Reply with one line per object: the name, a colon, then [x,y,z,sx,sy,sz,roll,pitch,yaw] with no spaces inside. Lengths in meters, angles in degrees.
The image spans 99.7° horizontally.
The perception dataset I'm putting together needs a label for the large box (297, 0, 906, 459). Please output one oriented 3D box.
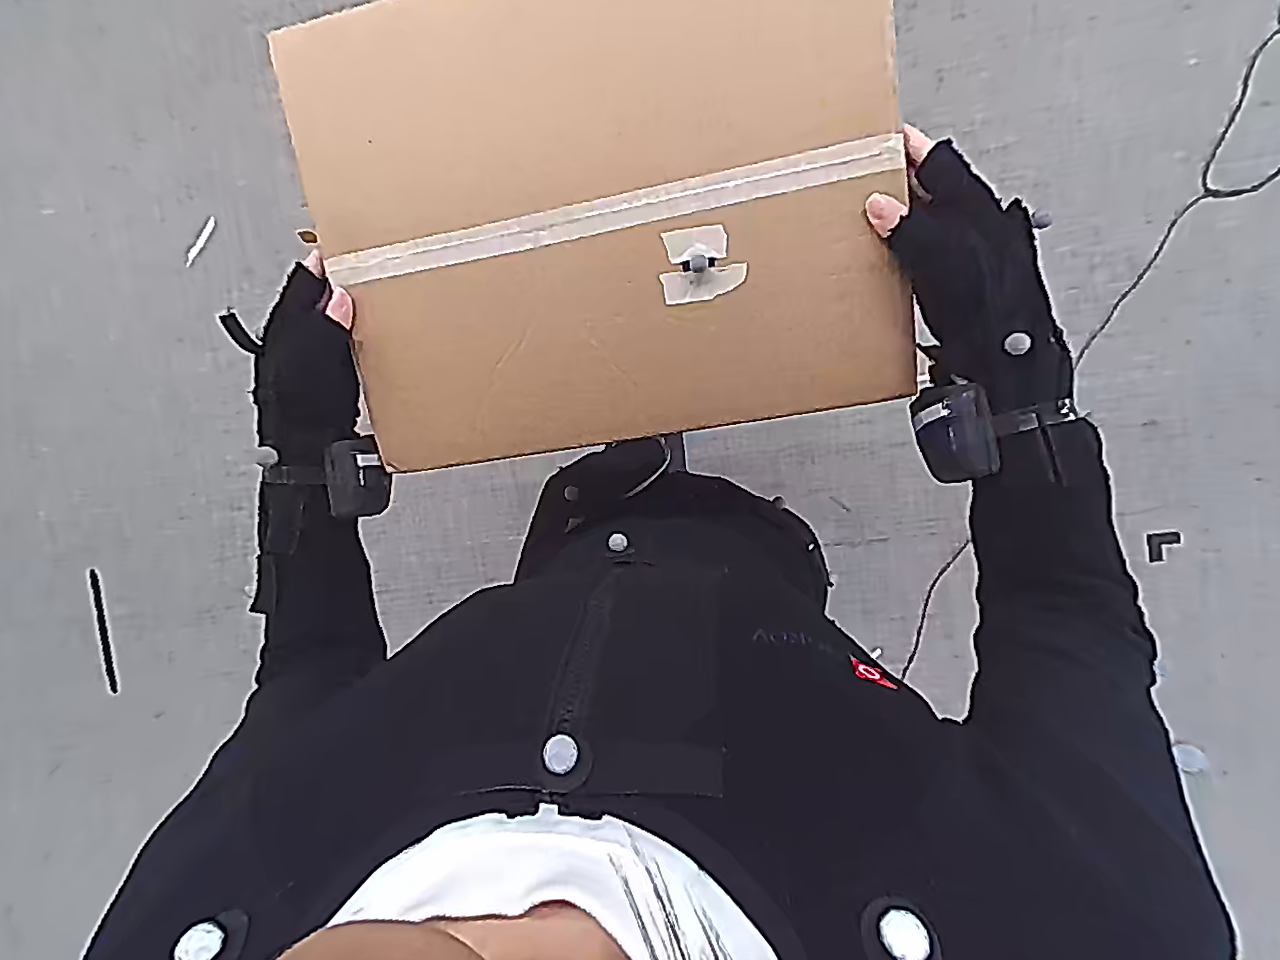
large box: [-0.014,-0.226,0.533,0.408,0.320,0.320,-8,103,7]
